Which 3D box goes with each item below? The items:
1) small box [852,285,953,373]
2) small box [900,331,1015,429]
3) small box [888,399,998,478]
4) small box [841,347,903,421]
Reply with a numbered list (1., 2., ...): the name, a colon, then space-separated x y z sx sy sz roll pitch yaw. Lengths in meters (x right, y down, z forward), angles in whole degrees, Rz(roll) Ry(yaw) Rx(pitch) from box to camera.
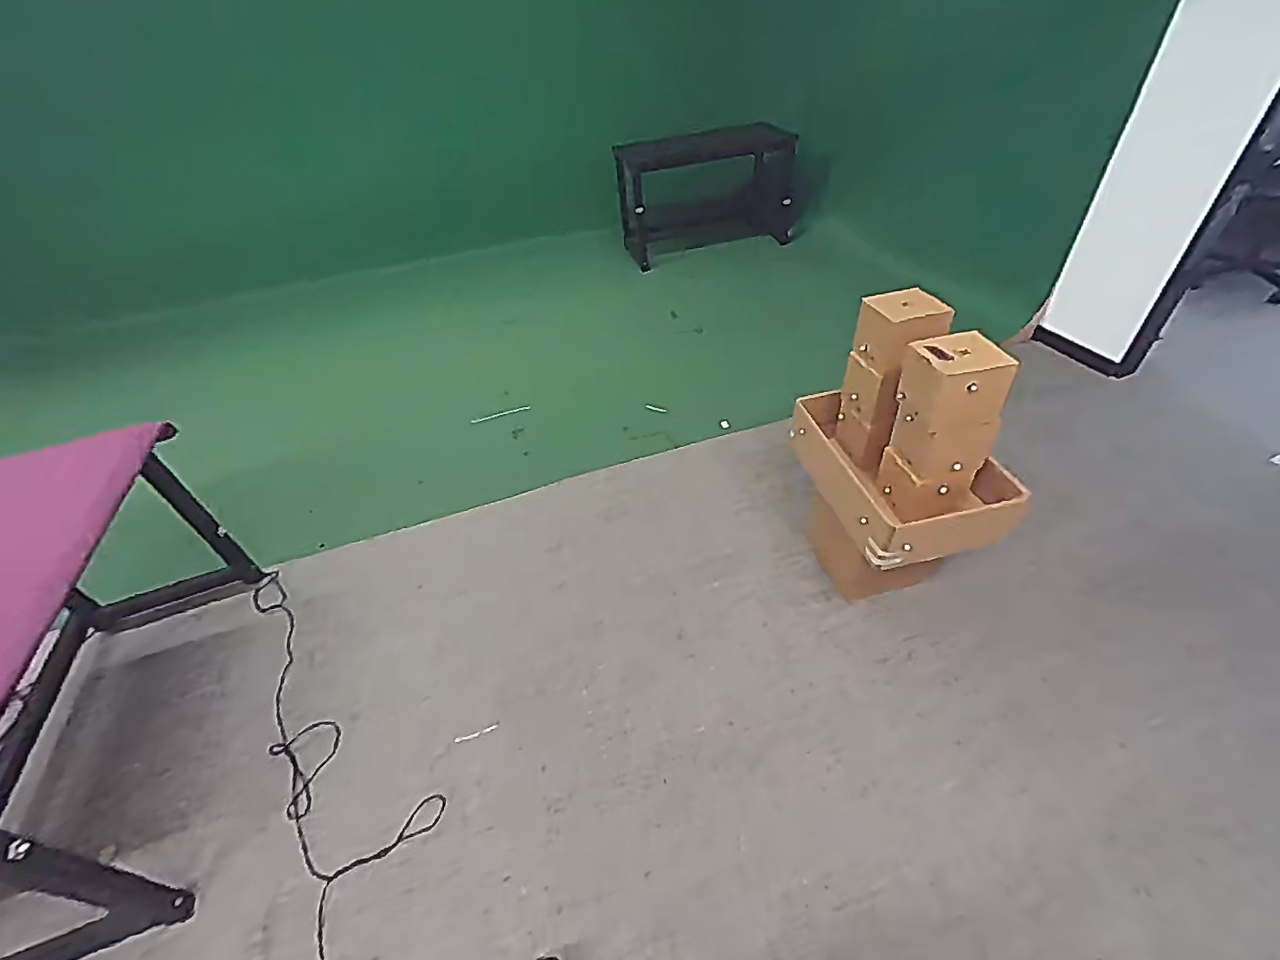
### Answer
1. small box: 0.729 -0.425 1.523 0.179 0.176 0.168 -12 43 -7
2. small box: 0.765 -0.242 1.331 0.179 0.176 0.168 -10 44 -2
3. small box: 0.797 -0.127 1.446 0.179 0.176 0.168 -11 43 -4
4. small box: 0.733 -0.302 1.630 0.179 0.176 0.168 -14 44 -8
